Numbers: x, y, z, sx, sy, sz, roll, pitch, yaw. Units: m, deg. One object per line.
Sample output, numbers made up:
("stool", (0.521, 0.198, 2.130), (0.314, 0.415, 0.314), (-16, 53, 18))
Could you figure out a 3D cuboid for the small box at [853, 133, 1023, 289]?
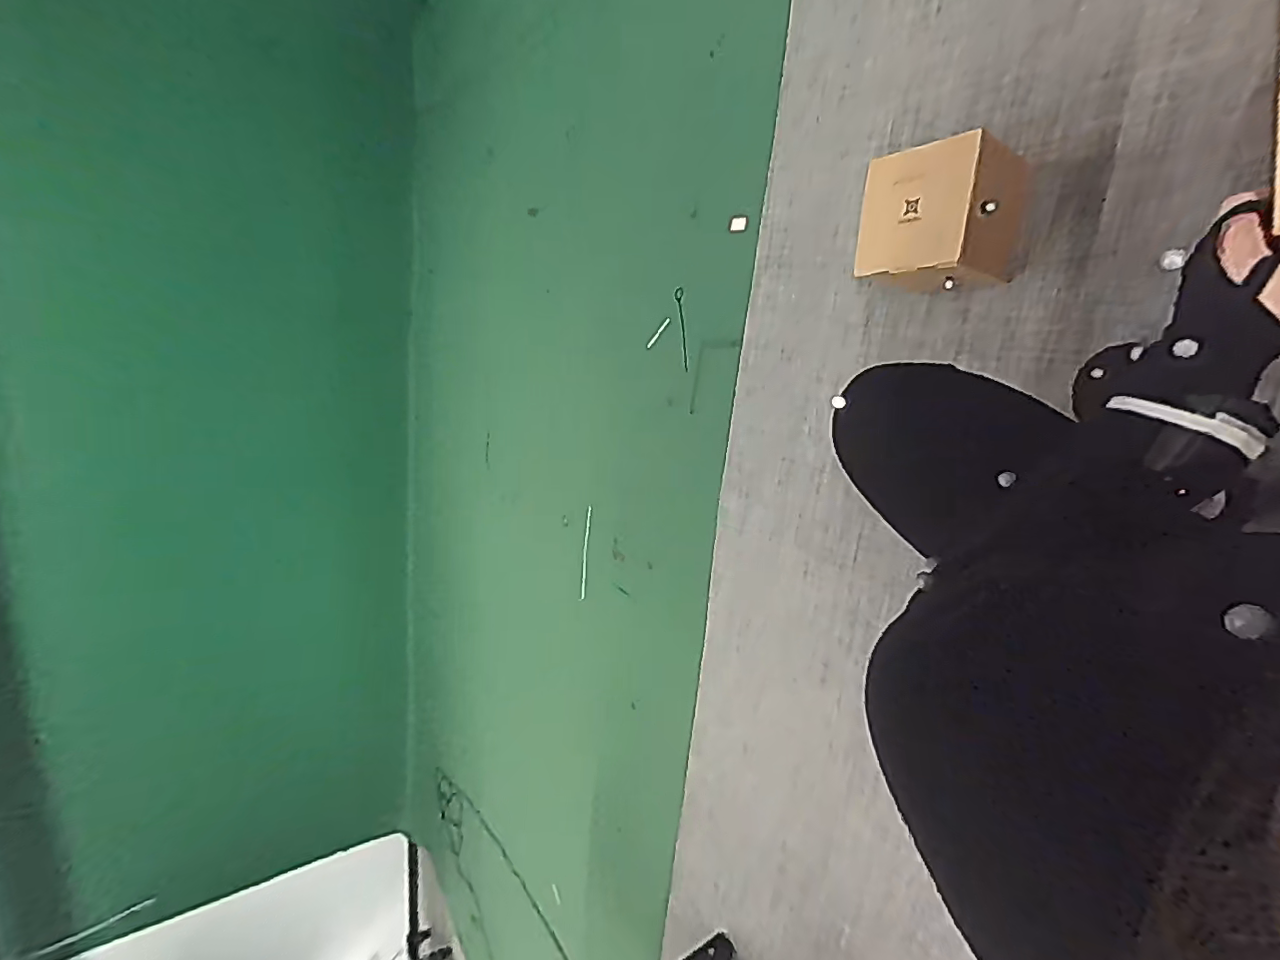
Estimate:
("small box", (0.467, -0.403, 0.850), (0.168, 0.176, 0.179), (20, 108, 51))
